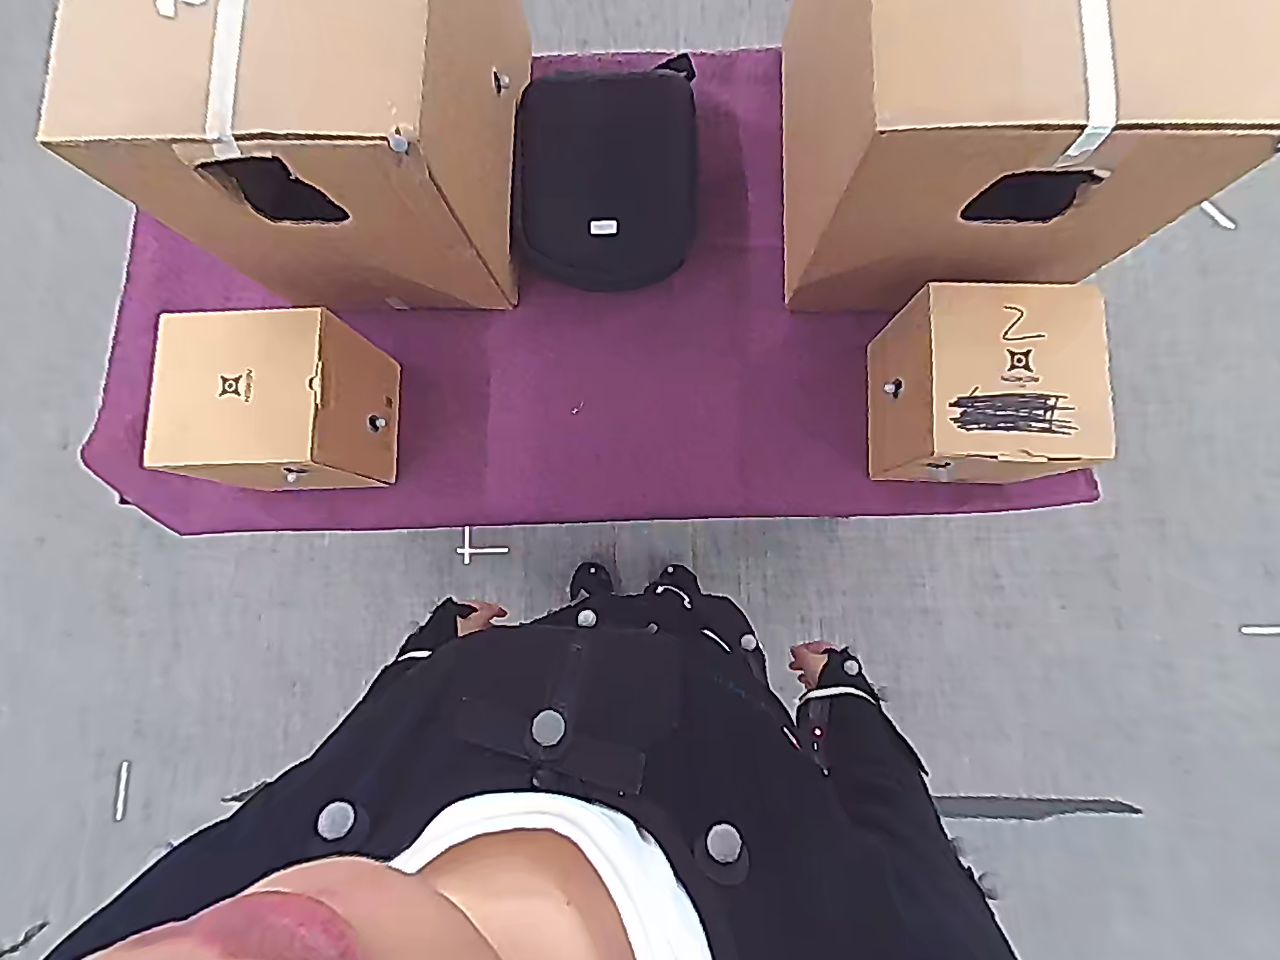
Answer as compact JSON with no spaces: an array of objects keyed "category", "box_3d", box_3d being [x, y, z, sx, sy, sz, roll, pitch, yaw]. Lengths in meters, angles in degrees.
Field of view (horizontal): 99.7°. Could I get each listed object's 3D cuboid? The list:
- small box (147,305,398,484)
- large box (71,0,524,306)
[{"category":"small box","box_3d":[-0.413,-0.089,0.637,0.179,0.176,0.168,-2,81,1]},{"category":"large box","box_3d":[-0.318,-0.448,0.610,0.320,0.320,0.408,1,85,3]}]
